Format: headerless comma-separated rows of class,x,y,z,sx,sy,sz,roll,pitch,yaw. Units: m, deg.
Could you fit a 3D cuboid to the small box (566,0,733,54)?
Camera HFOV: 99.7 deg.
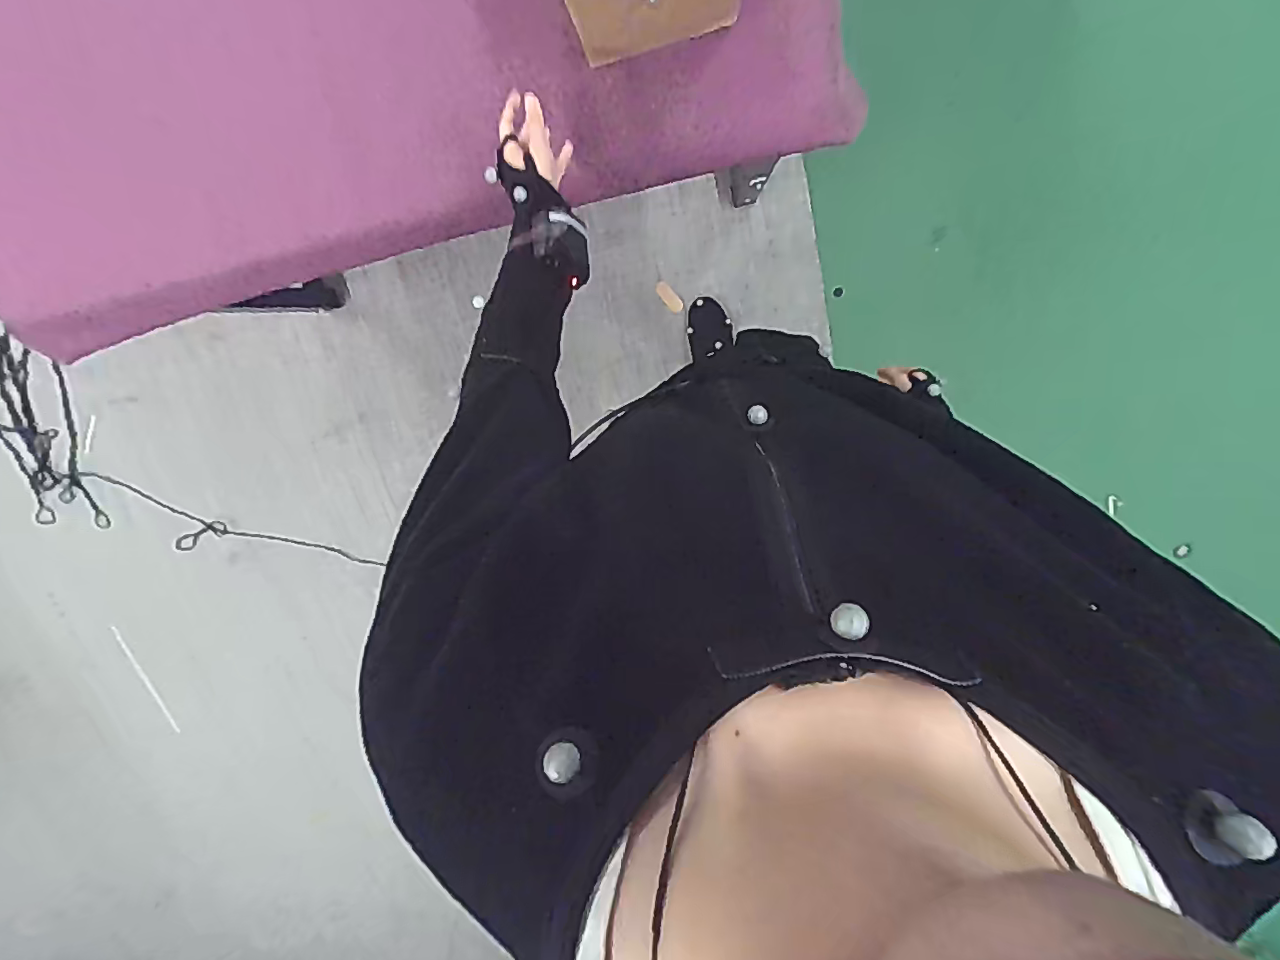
small box,-0.002,-0.557,0.522,0.179,0.176,0.168,-9,105,8
